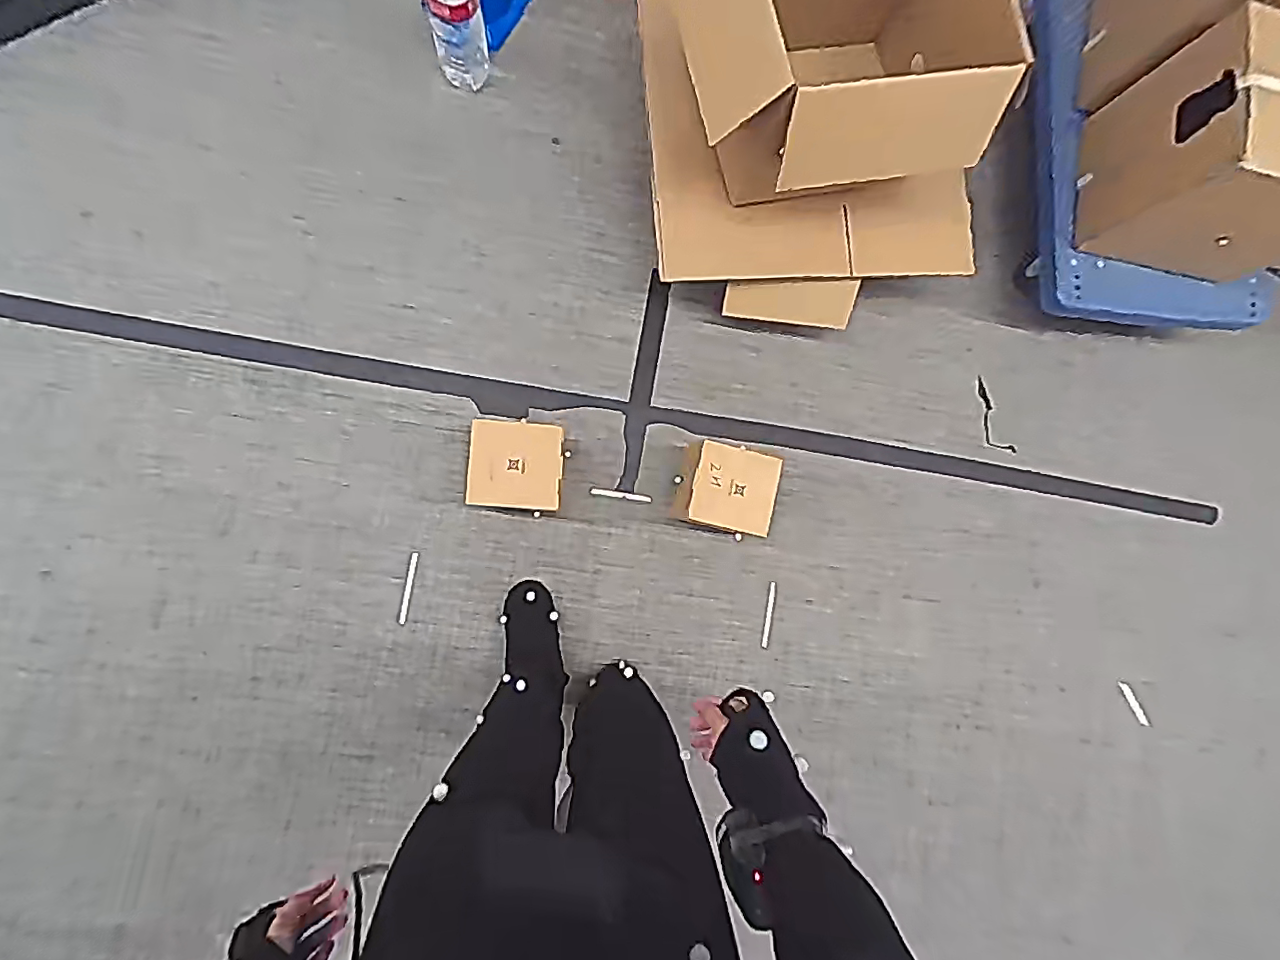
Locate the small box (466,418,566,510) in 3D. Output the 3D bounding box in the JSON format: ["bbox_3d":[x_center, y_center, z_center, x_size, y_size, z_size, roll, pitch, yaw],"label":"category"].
[{"bbox_3d":[-0.245,-0.027,1.104,0.179,0.176,0.168,4,86,-8],"label":"small box"}]

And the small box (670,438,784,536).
[{"bbox_3d":[0.181,0.017,1.167,0.179,0.176,0.168,14,85,-9],"label":"small box"}]
